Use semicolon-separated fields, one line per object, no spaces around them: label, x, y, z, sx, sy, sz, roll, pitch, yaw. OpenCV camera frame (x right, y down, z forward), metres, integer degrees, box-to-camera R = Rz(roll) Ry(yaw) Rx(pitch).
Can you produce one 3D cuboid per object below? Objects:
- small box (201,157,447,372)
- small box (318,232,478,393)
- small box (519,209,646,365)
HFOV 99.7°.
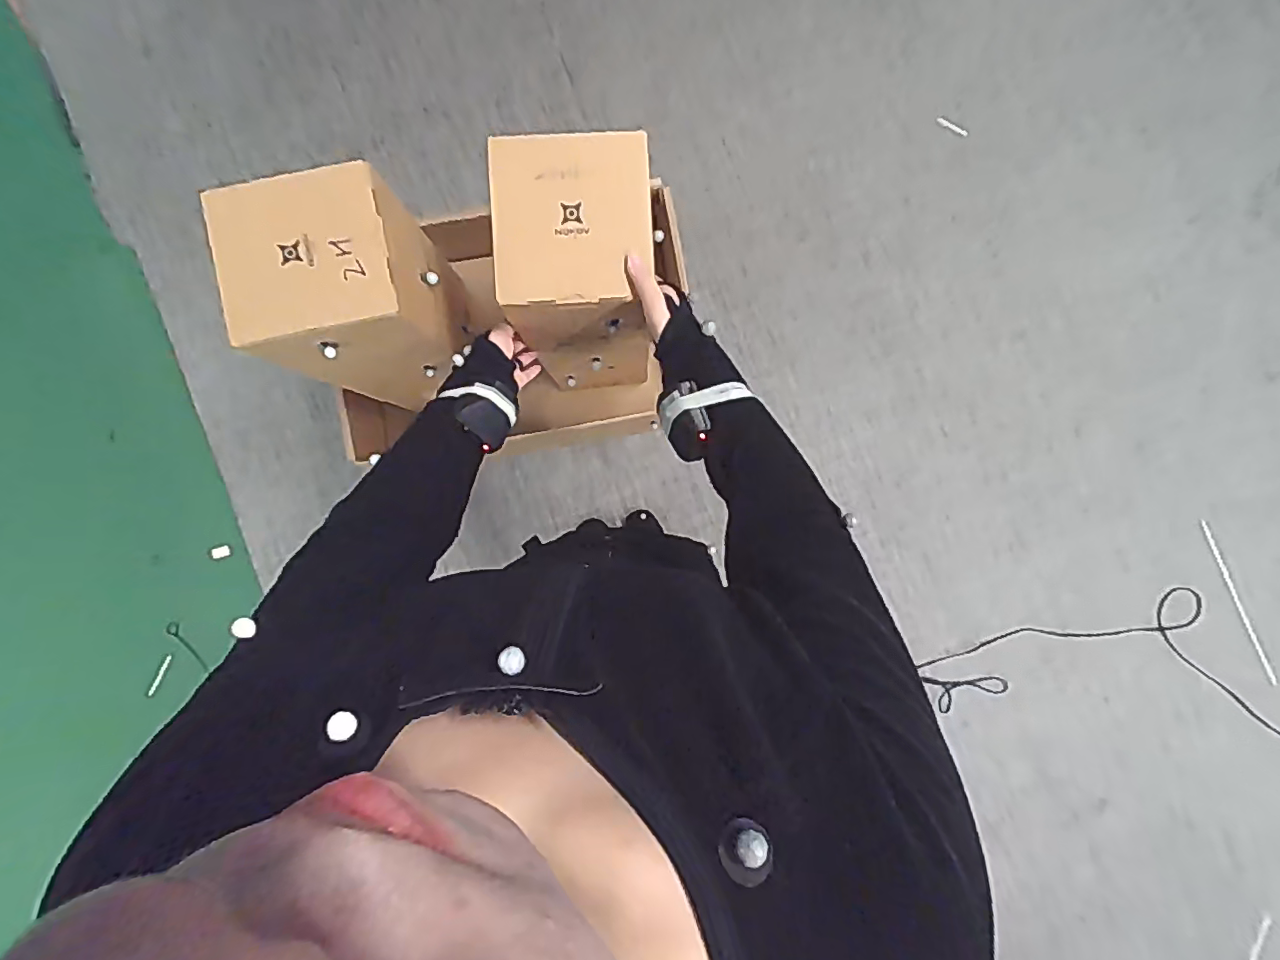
small box;-0.351;-0.235;0.631;0.179;0.176;0.168;-12;90;-2
small box;-0.358;-0.233;0.796;0.179;0.176;0.168;-11;89;-3
small box;-0.077;-0.271;0.799;0.168;0.176;0.179;-4;90;-2
